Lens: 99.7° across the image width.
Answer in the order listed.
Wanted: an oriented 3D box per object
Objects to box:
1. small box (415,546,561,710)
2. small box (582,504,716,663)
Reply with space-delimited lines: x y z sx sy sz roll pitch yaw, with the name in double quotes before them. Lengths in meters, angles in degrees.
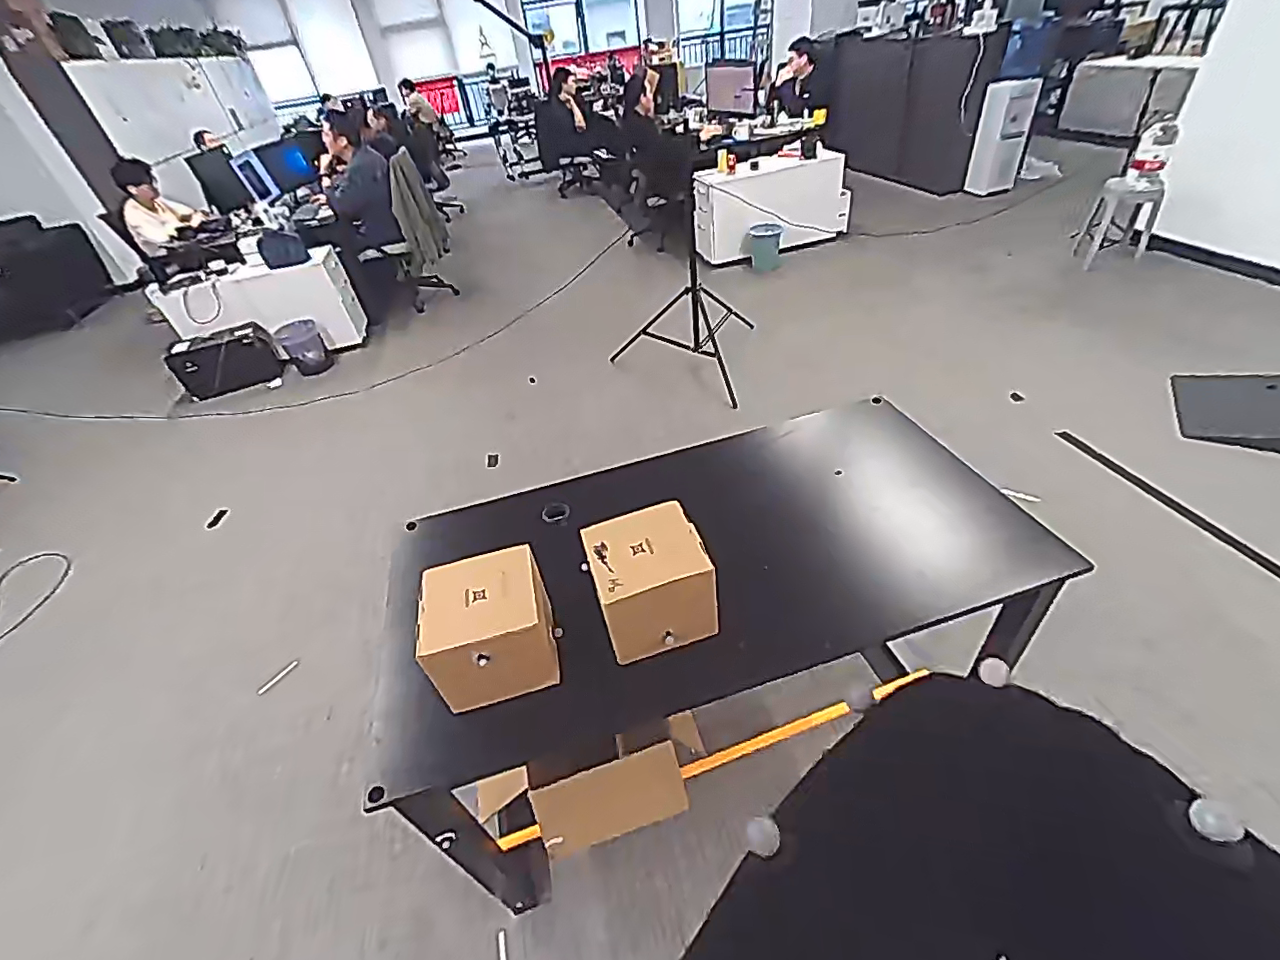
"small box" -0.237 0.238 0.864 0.179 0.176 0.168 -14 41 -8
"small box" 0.016 0.171 0.896 0.179 0.176 0.168 -16 40 -9
